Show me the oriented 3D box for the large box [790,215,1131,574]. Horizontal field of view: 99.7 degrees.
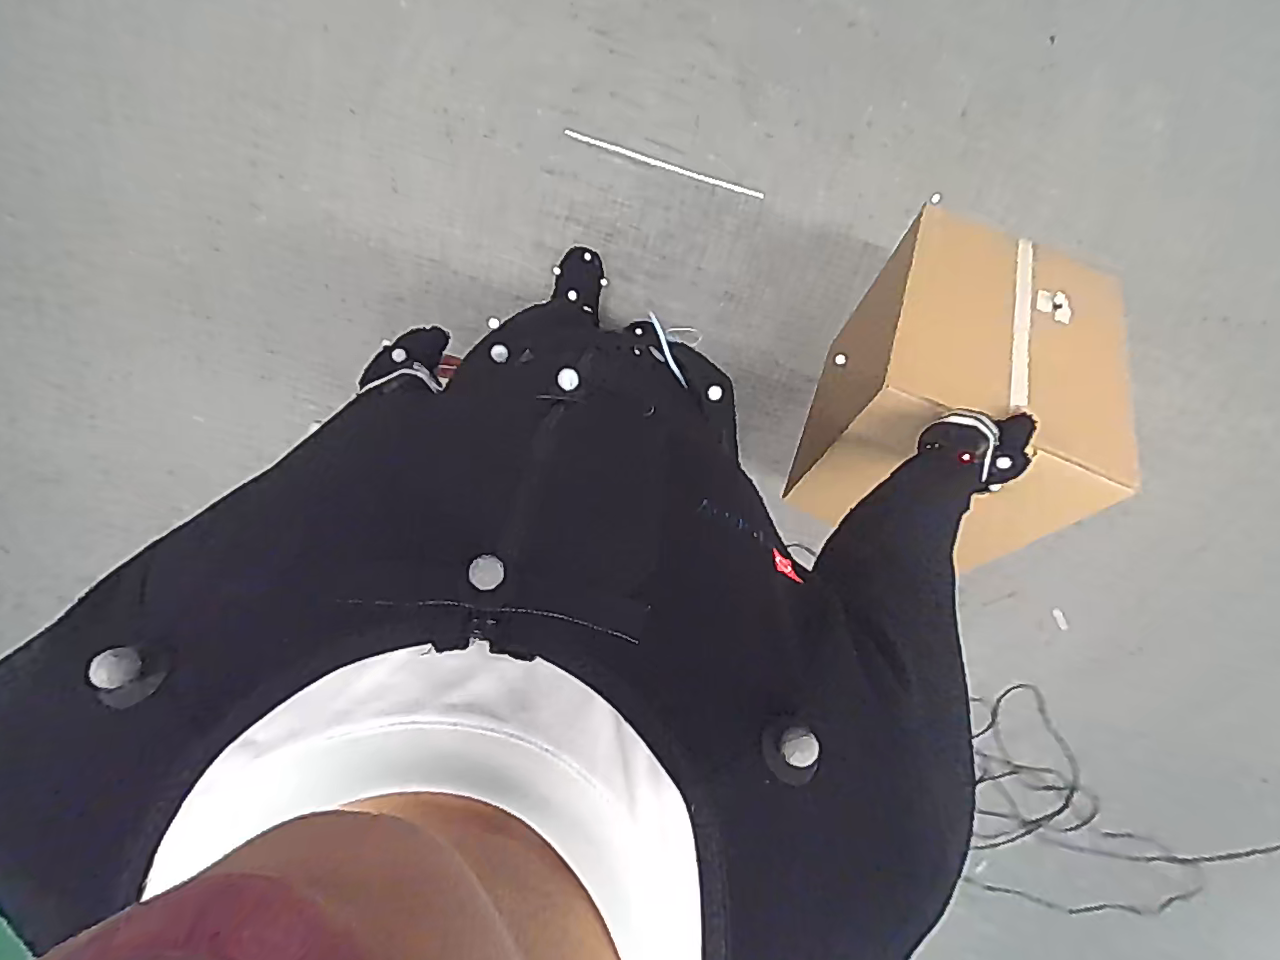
[{"bbox_3d":[0.476,-0.124,0.858,0.320,0.408,0.320,25,150,2],"label":"large box"}]
